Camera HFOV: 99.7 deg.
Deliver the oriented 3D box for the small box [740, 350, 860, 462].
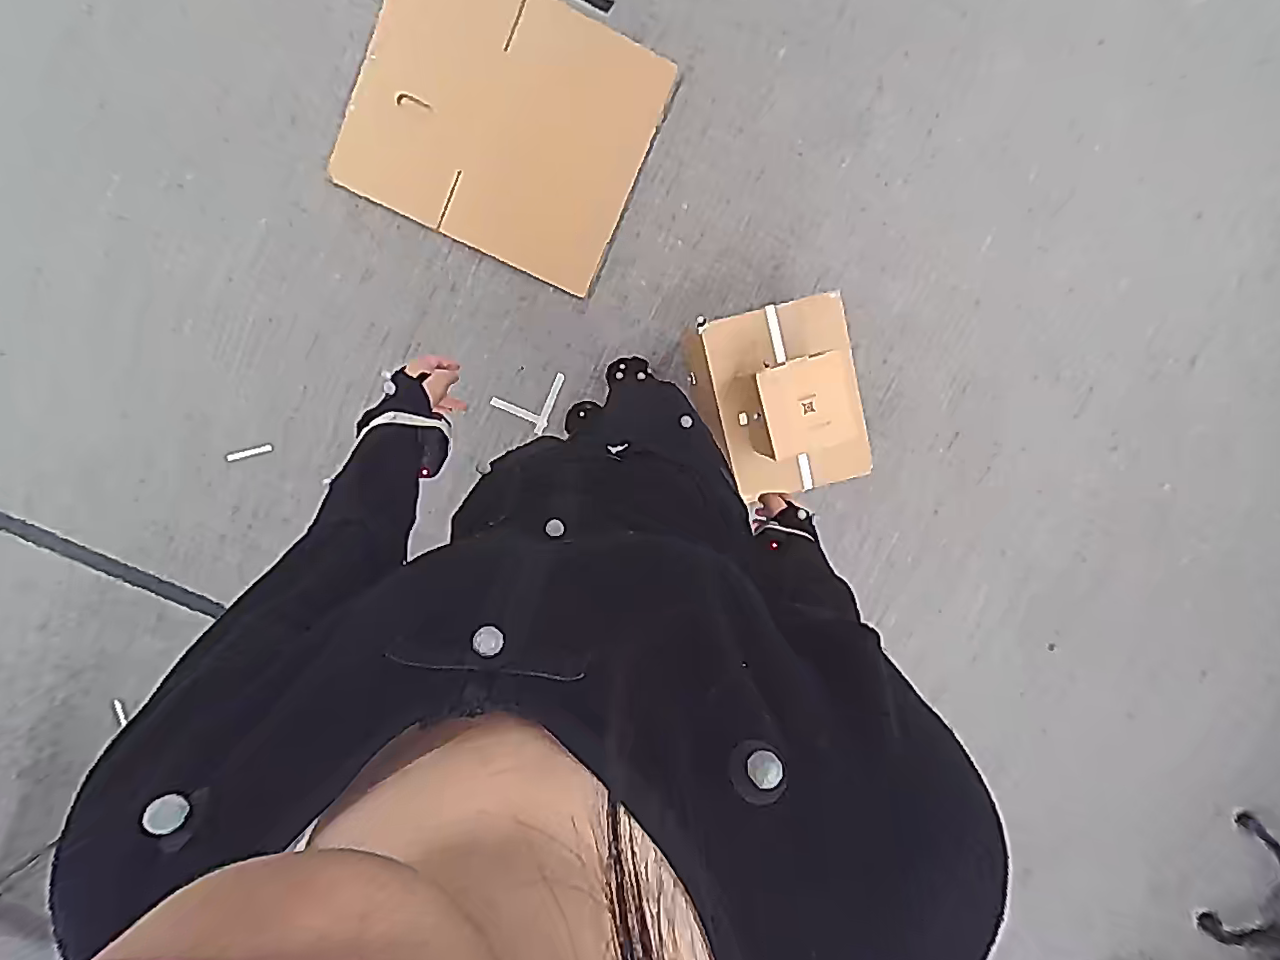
[{"bbox_3d":[0.311,-0.148,1.085,0.168,0.176,0.179,-16,100,1],"label":"small box"}]
